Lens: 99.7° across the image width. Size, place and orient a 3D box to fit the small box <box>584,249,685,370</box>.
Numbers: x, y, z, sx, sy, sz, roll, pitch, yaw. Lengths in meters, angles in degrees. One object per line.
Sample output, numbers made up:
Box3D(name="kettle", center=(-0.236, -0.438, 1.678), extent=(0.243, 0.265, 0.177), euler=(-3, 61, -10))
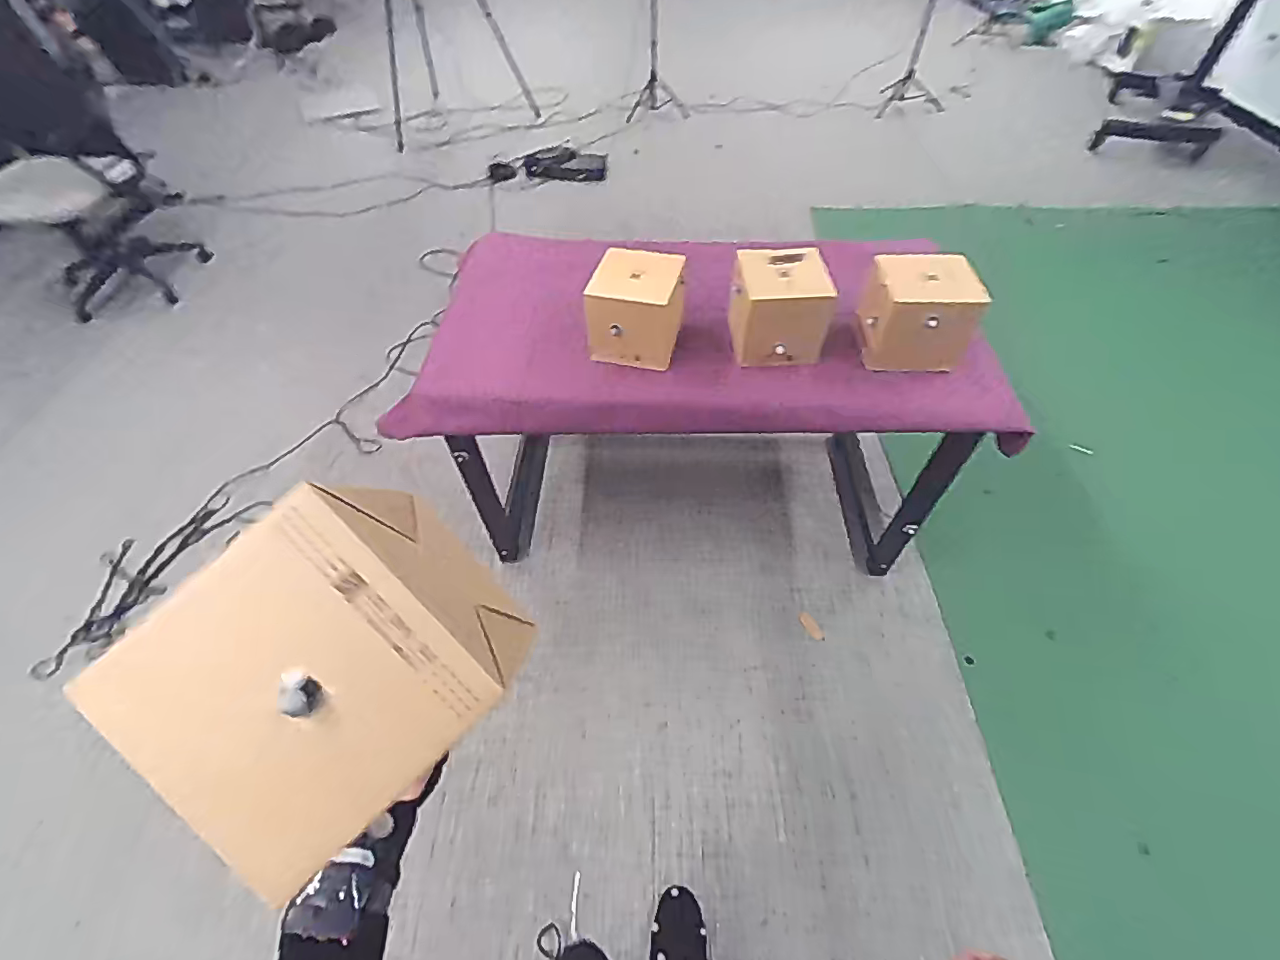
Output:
Box3D(name="small box", center=(-0.006, -0.352, 1.128), extent=(0.168, 0.176, 0.179), euler=(11, 53, 10))

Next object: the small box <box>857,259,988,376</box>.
Box3D(name="small box", center=(0.555, -0.327, 1.097), extent=(0.179, 0.176, 0.168), euler=(3, 51, 3))

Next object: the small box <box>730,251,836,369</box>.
Box3D(name="small box", center=(0.285, -0.351, 1.121), extent=(0.168, 0.176, 0.179), euler=(-2, 53, 0))

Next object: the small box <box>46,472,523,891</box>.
Box3D(name="small box", center=(-0.203, 0.108, 0.373), extent=(0.176, 0.179, 0.168), euler=(-43, 91, -6))
